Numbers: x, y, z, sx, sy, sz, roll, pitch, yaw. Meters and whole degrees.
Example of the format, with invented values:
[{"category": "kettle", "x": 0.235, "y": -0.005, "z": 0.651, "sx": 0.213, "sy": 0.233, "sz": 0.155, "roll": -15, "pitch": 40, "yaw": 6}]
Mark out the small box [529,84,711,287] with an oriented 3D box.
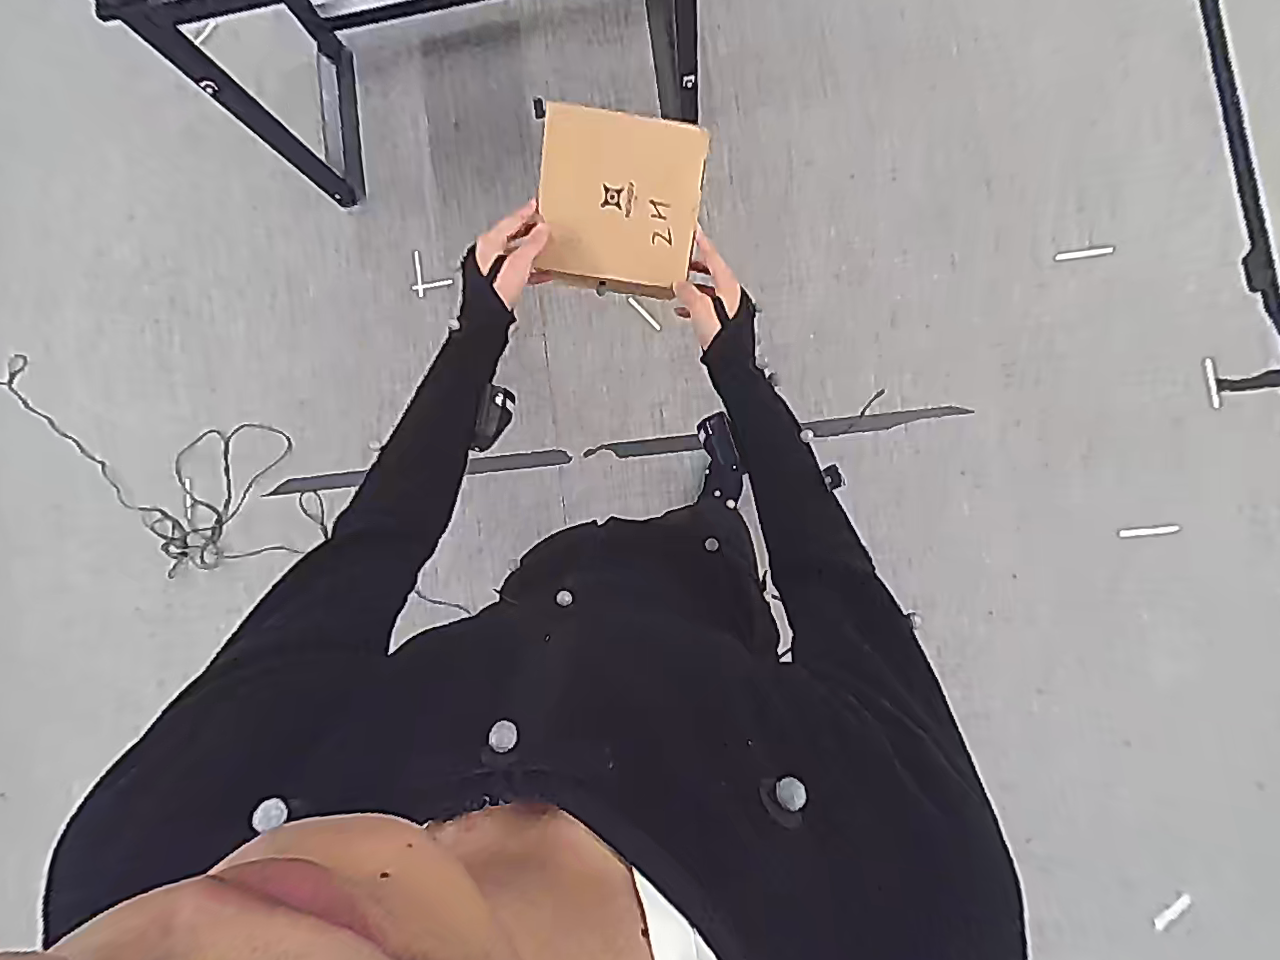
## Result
[{"category": "small box", "x": -0.026, "y": -0.331, "z": 0.645, "sx": 0.179, "sy": 0.176, "sz": 0.168, "roll": 7, "pitch": 105, "yaw": -5}]
